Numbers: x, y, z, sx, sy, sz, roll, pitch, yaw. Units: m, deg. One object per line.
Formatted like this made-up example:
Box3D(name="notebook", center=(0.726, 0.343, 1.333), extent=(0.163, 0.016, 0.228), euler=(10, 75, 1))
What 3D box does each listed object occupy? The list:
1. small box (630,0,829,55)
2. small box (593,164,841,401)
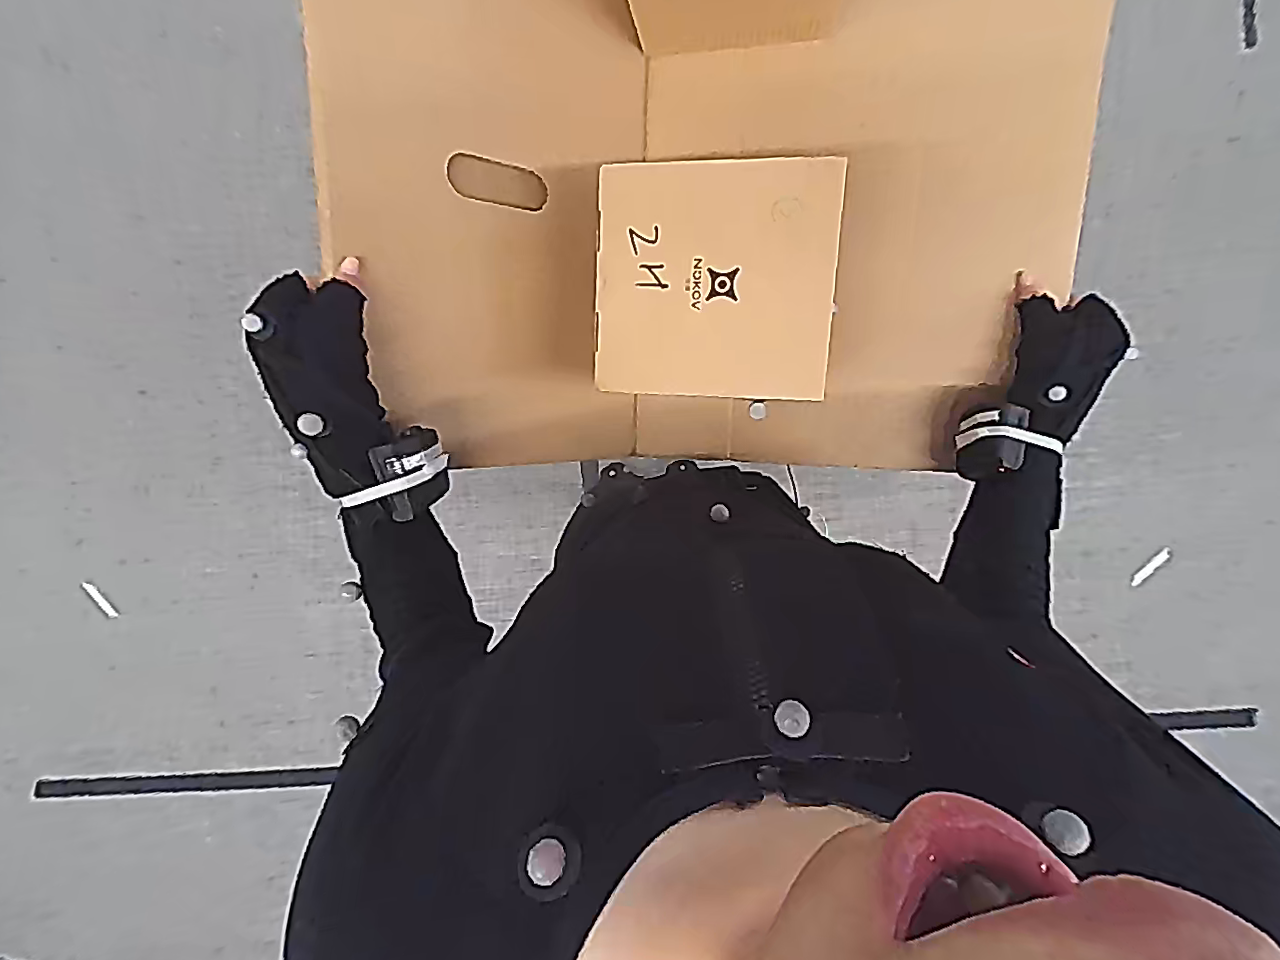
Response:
Box3D(name="small box", center=(0.073, -0.476, 0.428), extent=(0.179, 0.176, 0.168), euler=(2, 100, 10))
Box3D(name="small box", center=(0.066, -0.161, 0.482), extent=(0.179, 0.176, 0.168), euler=(5, 100, 11))
